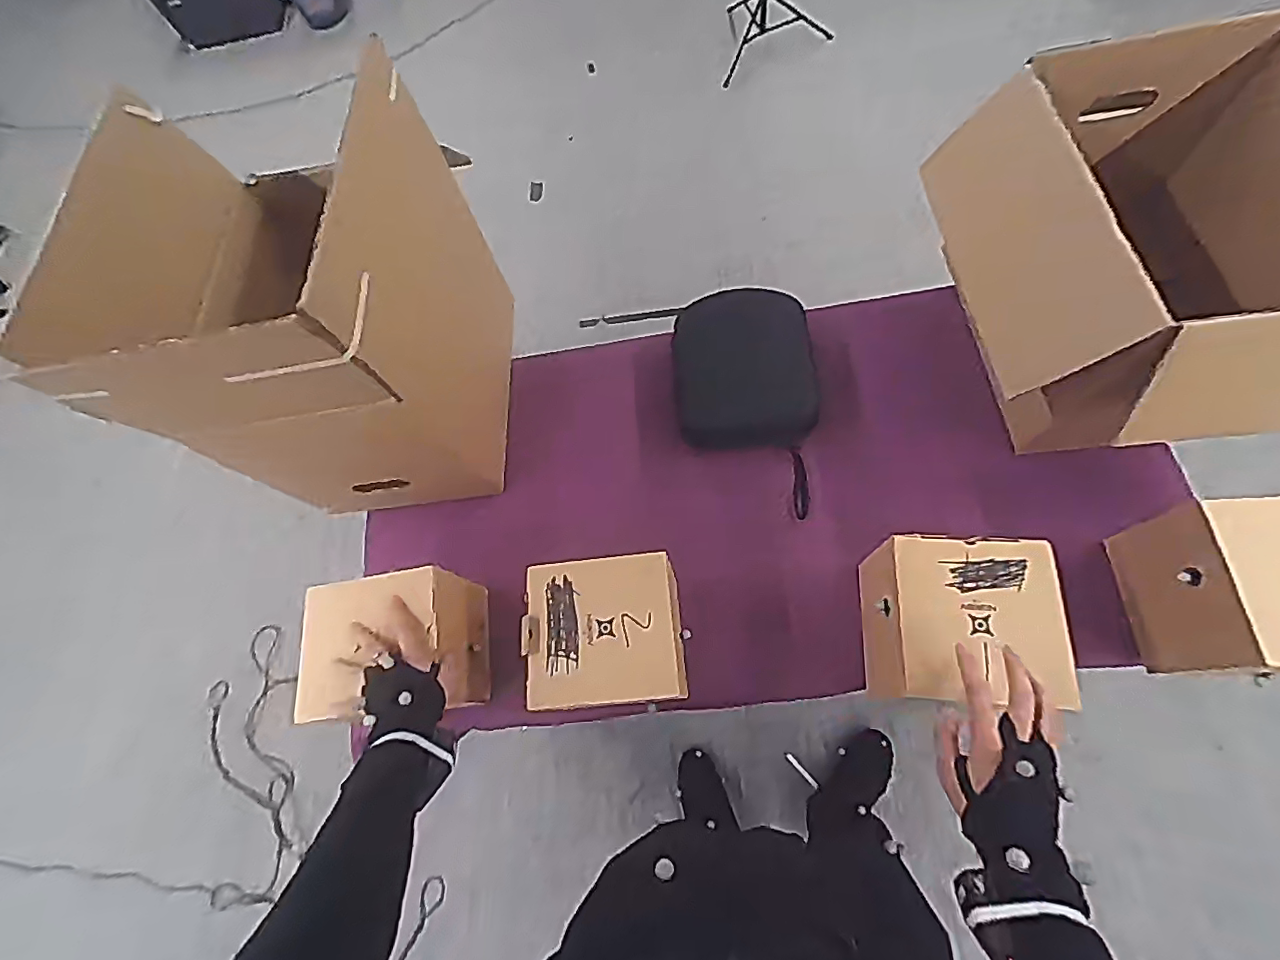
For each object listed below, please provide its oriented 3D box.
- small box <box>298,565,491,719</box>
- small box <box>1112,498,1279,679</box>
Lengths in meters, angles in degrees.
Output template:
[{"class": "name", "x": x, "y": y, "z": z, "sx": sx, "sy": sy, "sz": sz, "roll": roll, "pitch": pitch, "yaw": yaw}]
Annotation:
[{"class": "small box", "x": -0.319, "y": 0.227, "z": 0.736, "sx": 0.179, "sy": 0.176, "sz": 0.168, "roll": -10, "pitch": 67, "yaw": 3}, {"class": "small box", "x": 0.697, "y": 0.129, "z": 0.616, "sx": 0.168, "sy": 0.176, "sz": 0.179, "roll": -3, "pitch": 68, "yaw": 9}]
